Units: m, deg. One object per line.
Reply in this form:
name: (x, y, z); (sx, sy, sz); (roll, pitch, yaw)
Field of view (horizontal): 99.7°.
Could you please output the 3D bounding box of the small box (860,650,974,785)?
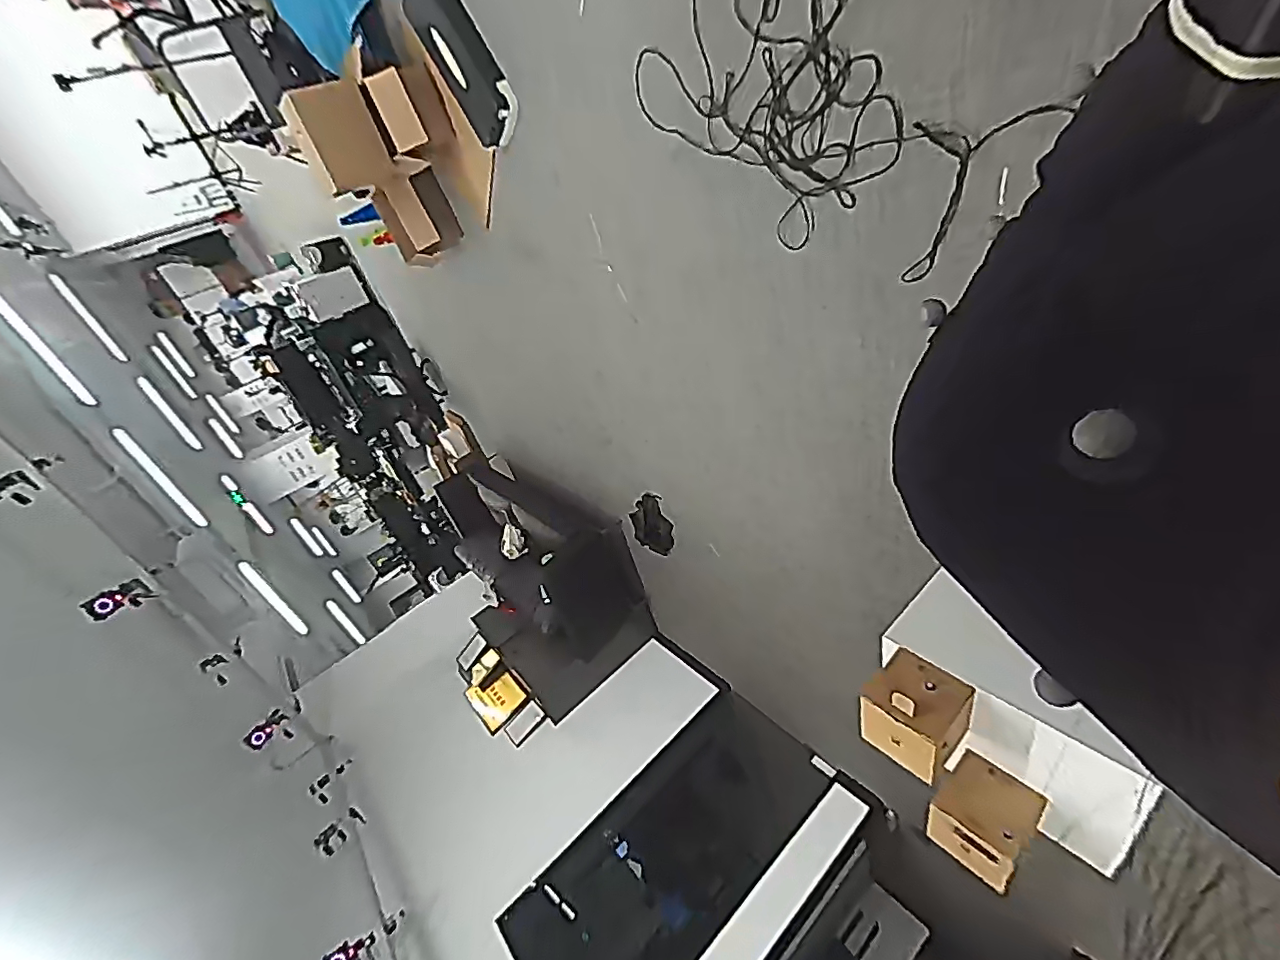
small box: (0.611, 0.520, 1.197); (0.168, 0.176, 0.179); (27, 144, 46)
